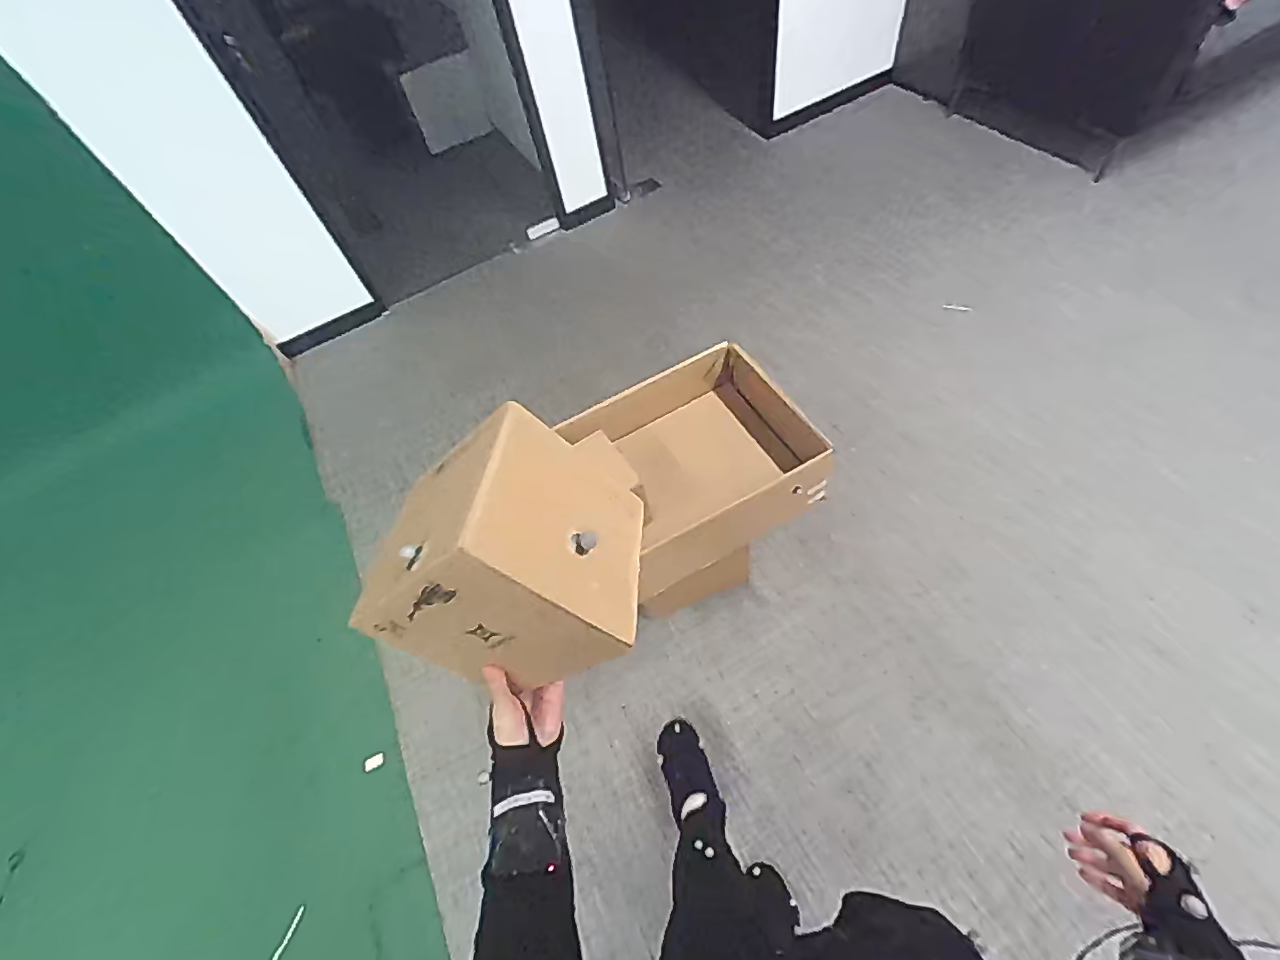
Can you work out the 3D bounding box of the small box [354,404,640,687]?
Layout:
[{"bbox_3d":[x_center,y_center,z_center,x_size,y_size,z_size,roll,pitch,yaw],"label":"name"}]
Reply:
[{"bbox_3d":[-0.114,0.063,0.503,0.168,0.179,0.176,-32,34,30],"label":"small box"}]

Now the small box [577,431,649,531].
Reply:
[{"bbox_3d":[-0.099,0.035,1.173,0.168,0.176,0.179,-32,58,-10],"label":"small box"}]
